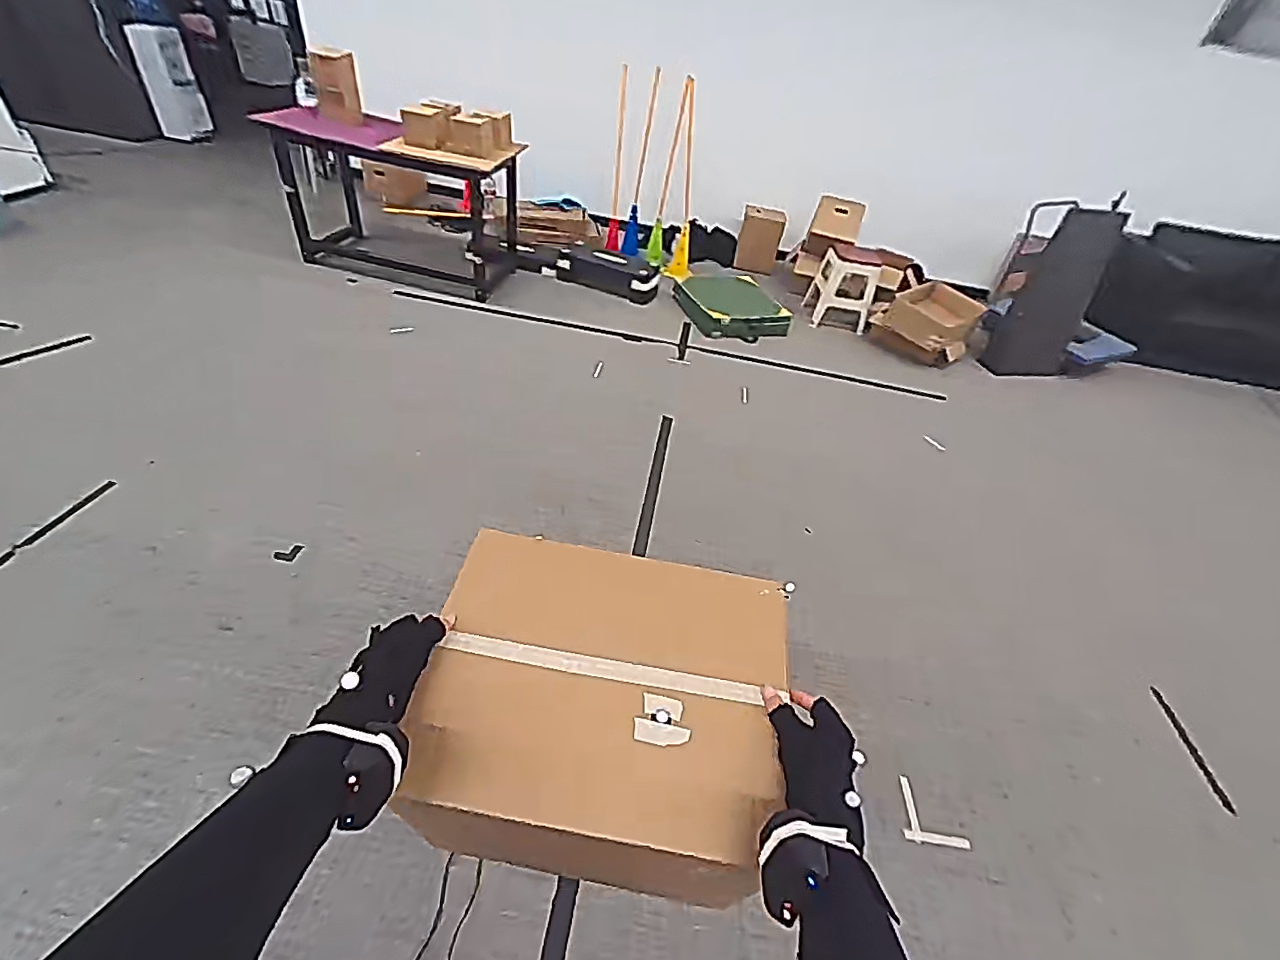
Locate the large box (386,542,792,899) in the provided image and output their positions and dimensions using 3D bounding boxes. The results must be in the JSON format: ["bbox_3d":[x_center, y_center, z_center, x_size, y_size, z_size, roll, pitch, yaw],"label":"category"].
[{"bbox_3d":[-0.047,0.321,0.722,0.408,0.320,0.320,10,47,2],"label":"large box"}]
